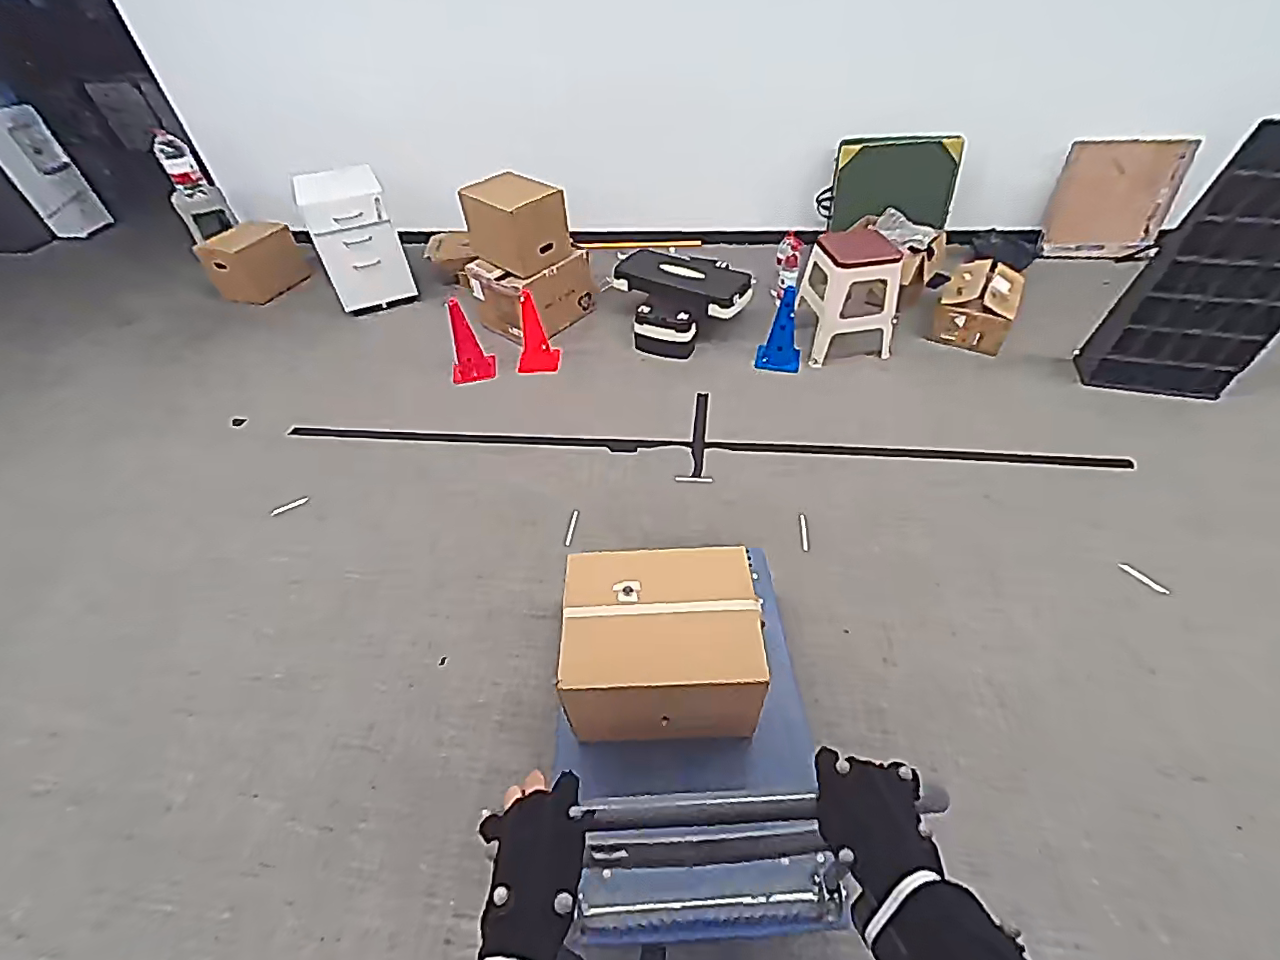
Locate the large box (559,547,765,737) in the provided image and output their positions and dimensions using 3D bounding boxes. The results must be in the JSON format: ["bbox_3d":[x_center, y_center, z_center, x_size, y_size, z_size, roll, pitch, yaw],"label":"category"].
[{"bbox_3d":[0.048,0.378,1.241,0.408,0.320,0.320,-3,47,2],"label":"large box"}]
